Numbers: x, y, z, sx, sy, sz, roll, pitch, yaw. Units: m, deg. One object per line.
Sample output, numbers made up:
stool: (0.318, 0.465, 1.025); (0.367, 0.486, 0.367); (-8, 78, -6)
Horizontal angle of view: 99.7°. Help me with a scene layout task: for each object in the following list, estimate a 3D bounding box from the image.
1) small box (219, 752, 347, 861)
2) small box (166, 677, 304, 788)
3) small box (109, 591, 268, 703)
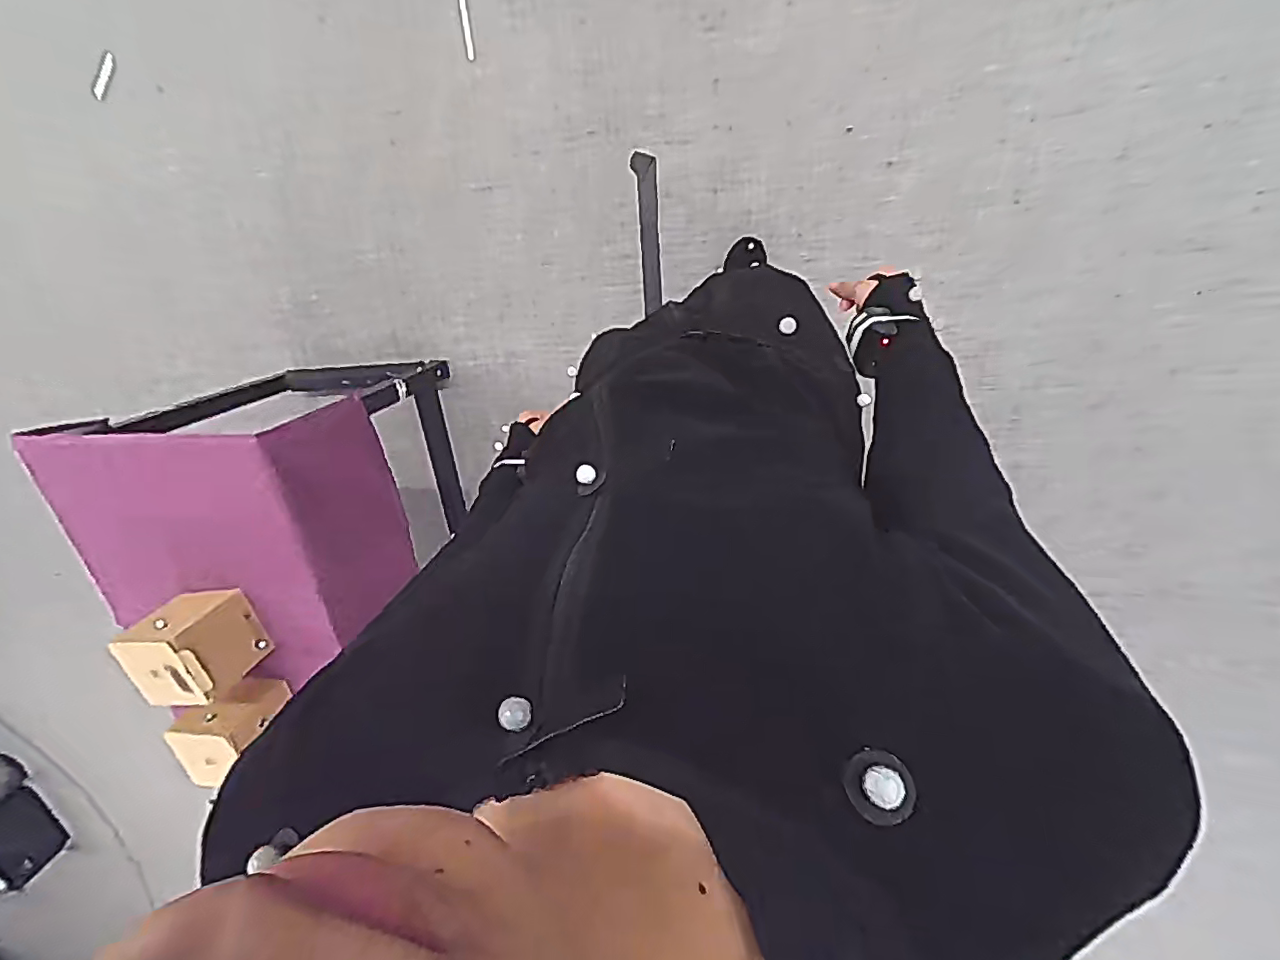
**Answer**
small box: (-0.885, 0.810, 1.355); (0.179, 0.176, 0.168); (-4, 114, 13)
small box: (-0.926, 0.581, 1.260); (0.179, 0.176, 0.168); (-2, 114, 13)
small box: (-0.945, 0.352, 1.156); (0.179, 0.176, 0.168); (-7, 113, 15)
